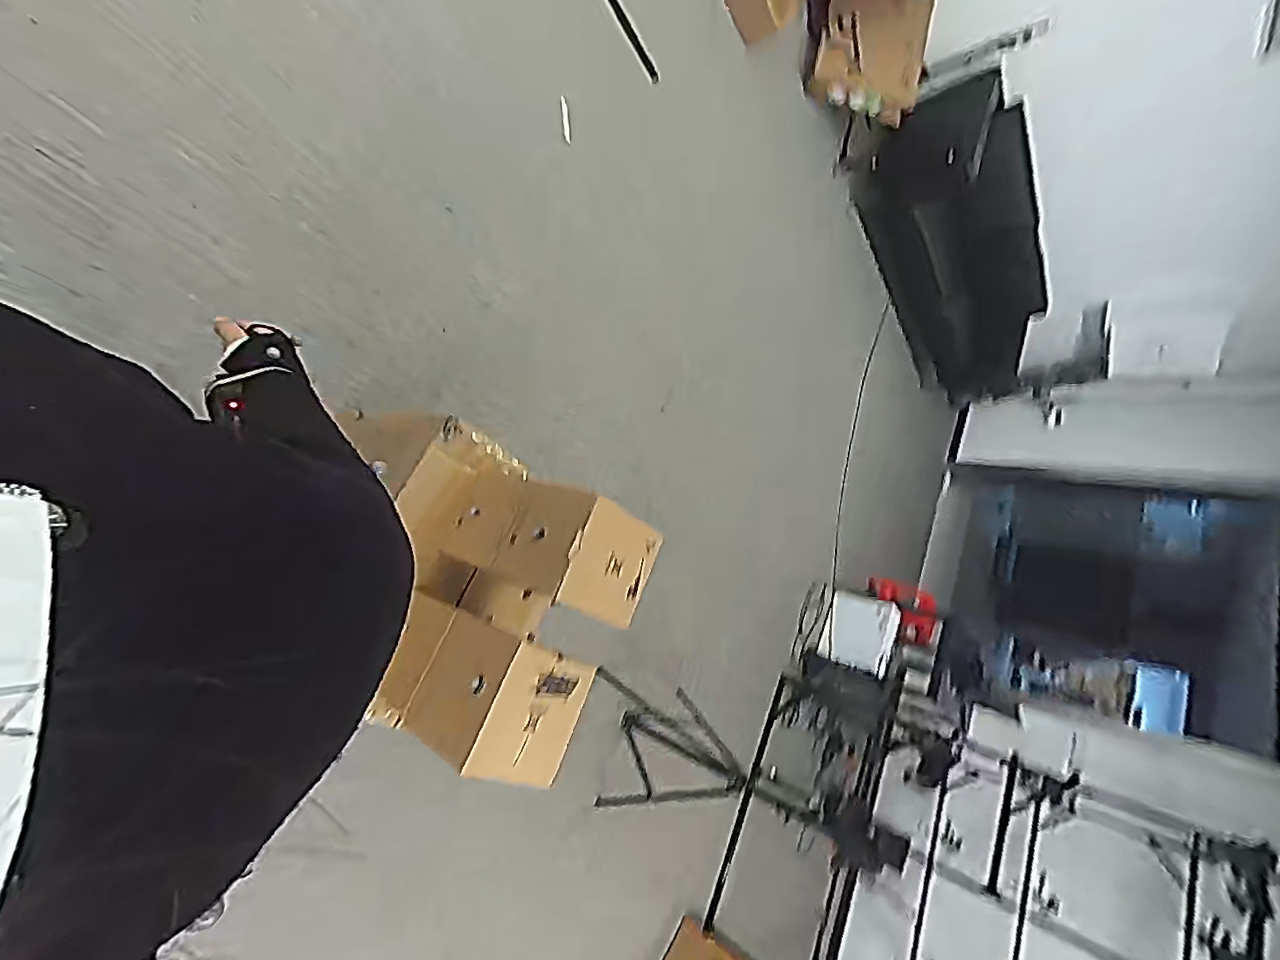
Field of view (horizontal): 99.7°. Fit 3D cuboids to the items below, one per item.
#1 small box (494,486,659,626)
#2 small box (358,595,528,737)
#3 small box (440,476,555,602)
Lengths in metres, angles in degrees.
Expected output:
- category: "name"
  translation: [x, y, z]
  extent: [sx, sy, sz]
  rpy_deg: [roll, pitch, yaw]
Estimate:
- category: "small box"
  translation: [-0.106, 0.118, 0.885]
  extent: [0.179, 0.176, 0.168]
  rpy_deg: [38, 68, -43]
- category: "small box"
  translation: [-0.331, 0.307, 0.912]
  extent: [0.179, 0.176, 0.168]
  rpy_deg: [40, 64, -41]
- category: "small box"
  translation: [-0.227, 0.102, 0.995]
  extent: [0.179, 0.176, 0.168]
  rpy_deg: [39, 68, -42]
